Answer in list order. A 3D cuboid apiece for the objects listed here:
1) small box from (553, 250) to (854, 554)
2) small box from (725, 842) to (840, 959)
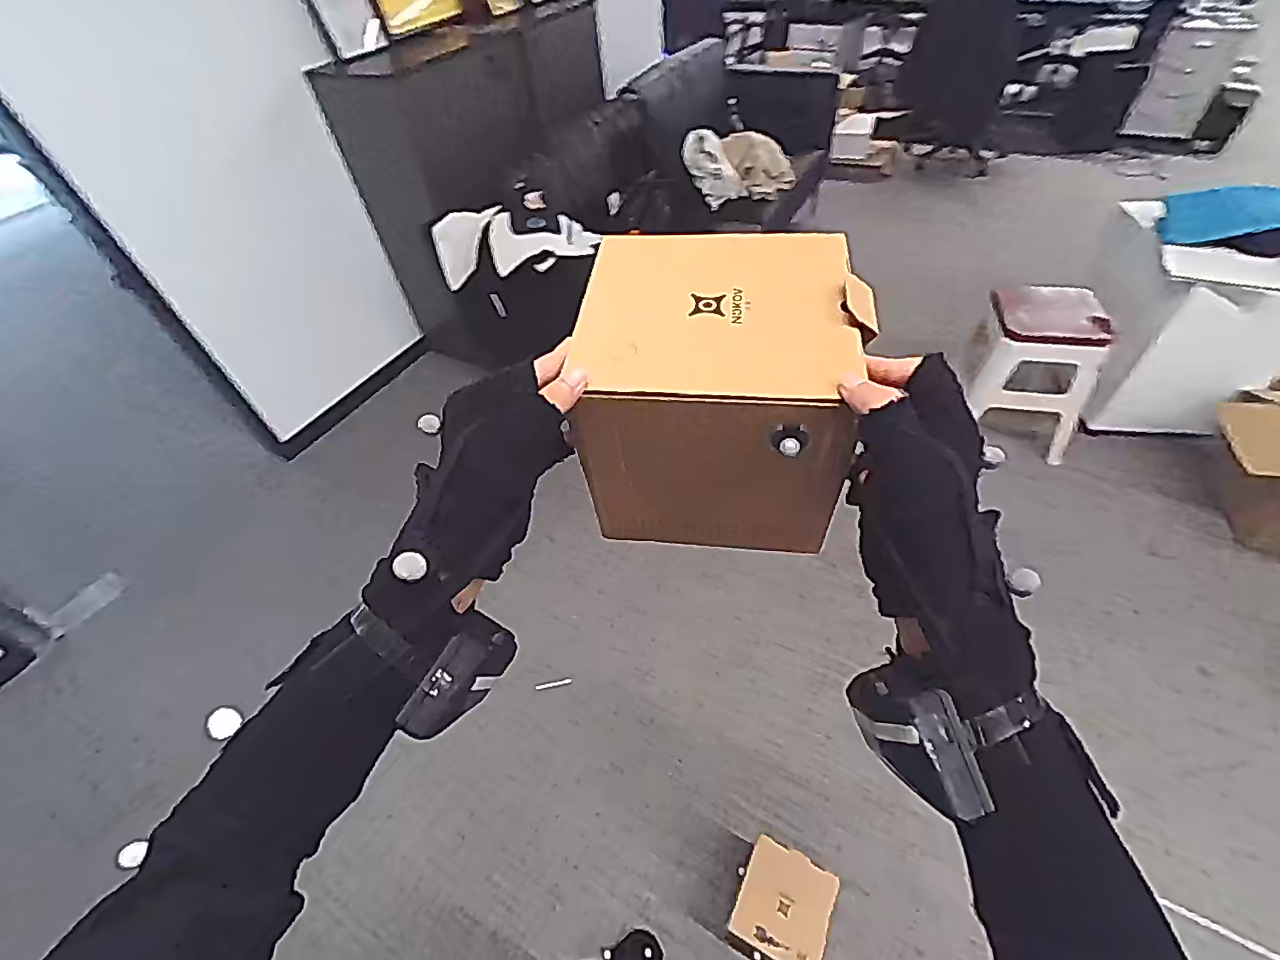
[{"bbox_3d":[0.049,-0.056,0.419,0.179,0.176,0.168,3,53,7],"label":"small box"},{"bbox_3d":[0.275,0.866,1.070,0.168,0.176,0.179,20,52,23],"label":"small box"}]
